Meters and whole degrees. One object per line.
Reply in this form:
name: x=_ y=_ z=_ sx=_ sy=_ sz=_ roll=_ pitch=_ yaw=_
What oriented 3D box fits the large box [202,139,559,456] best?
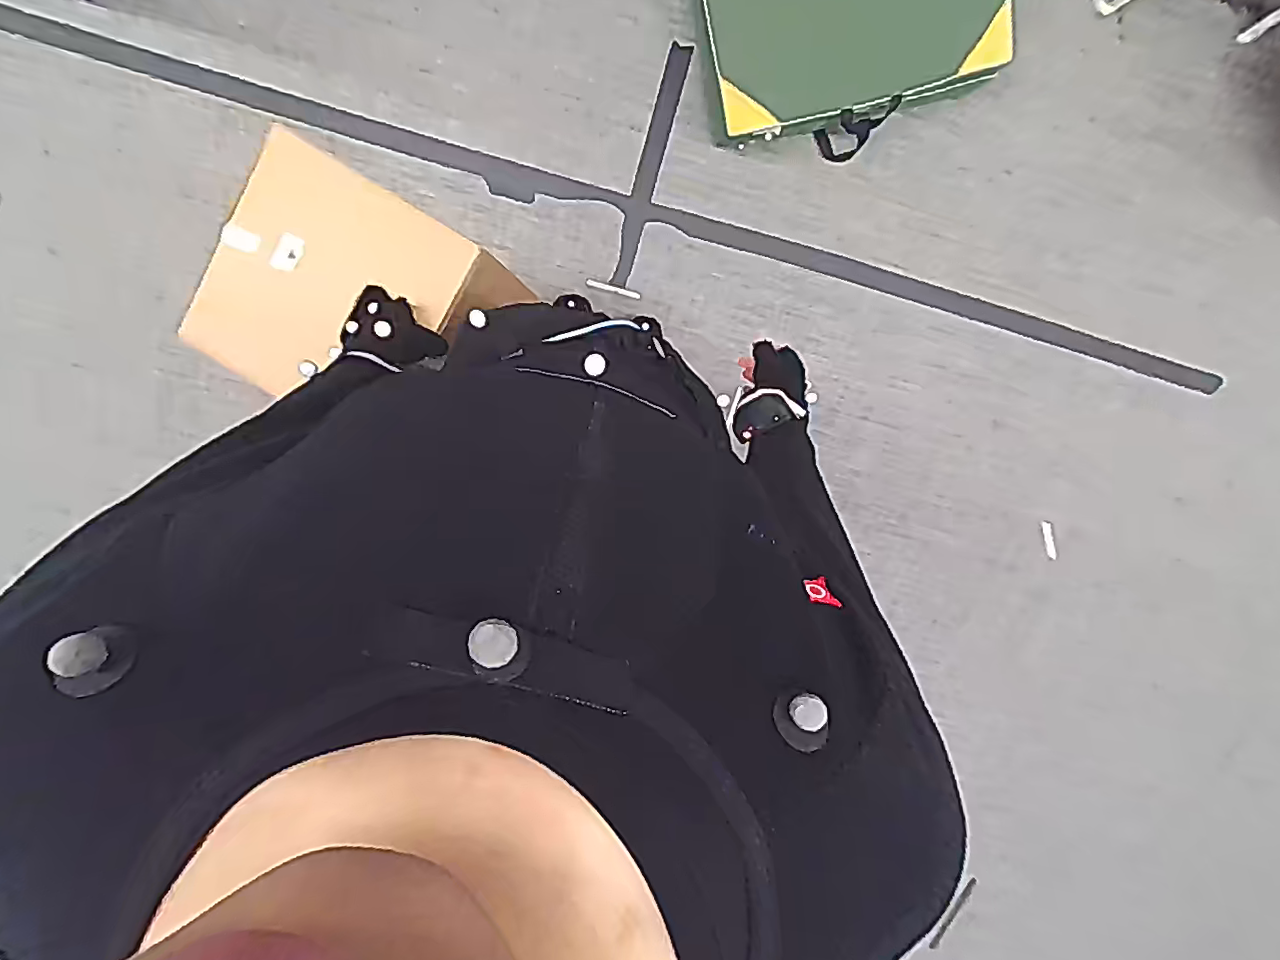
large box: x=-0.383 y=-0.263 z=0.907 sx=0.320 sy=0.408 sz=0.320 roll=35 pitch=97 yaw=0
